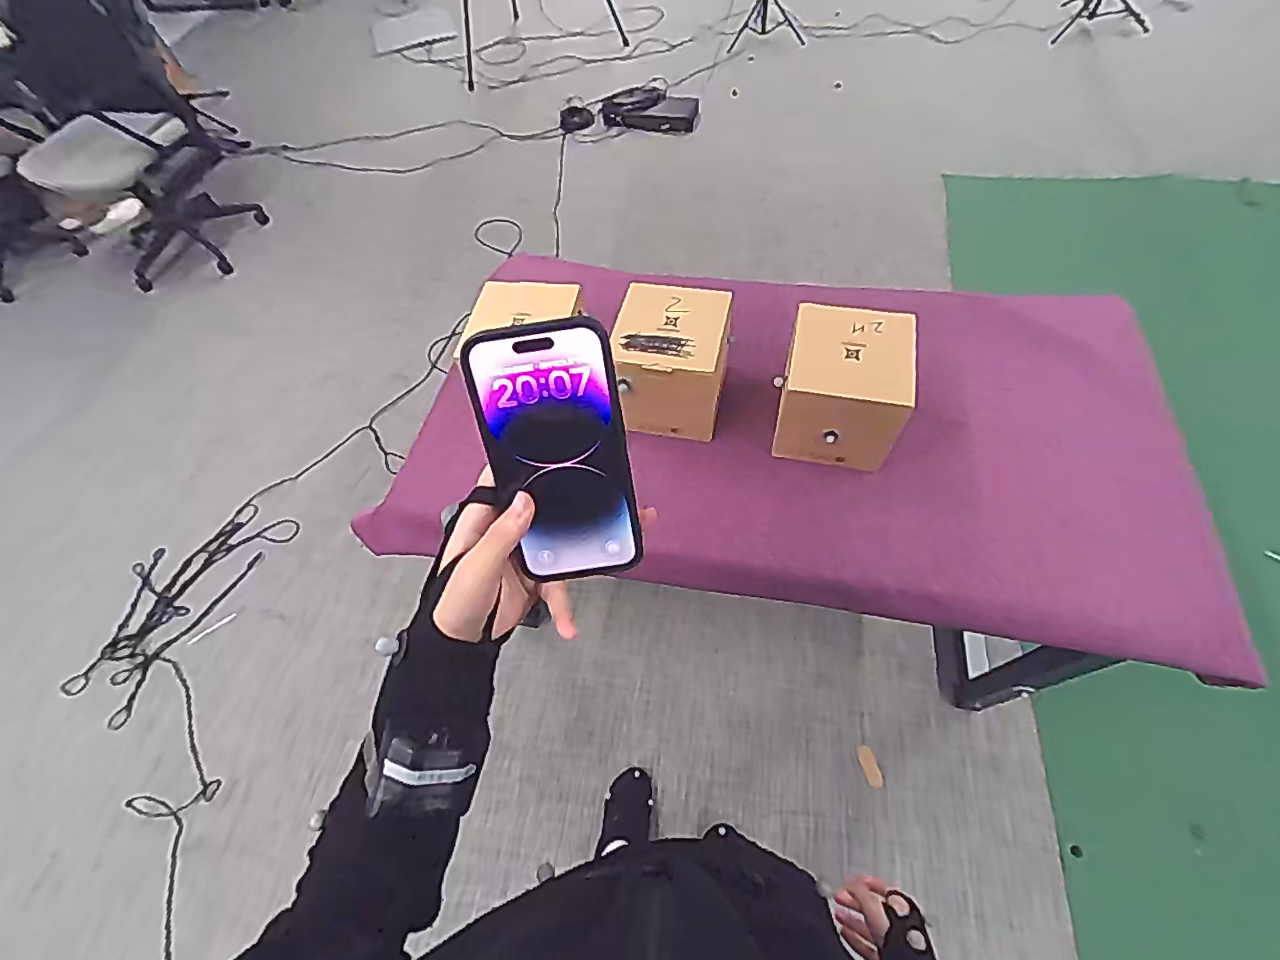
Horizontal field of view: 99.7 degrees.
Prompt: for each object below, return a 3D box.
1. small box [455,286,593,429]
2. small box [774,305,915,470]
[{"bbox_3d":[-0.183,-0.204,0.918,0.168,0.176,0.179,5,58,9],"label":"small box"},{"bbox_3d":[0.305,-0.136,0.825,0.168,0.176,0.179,11,60,11],"label":"small box"}]
